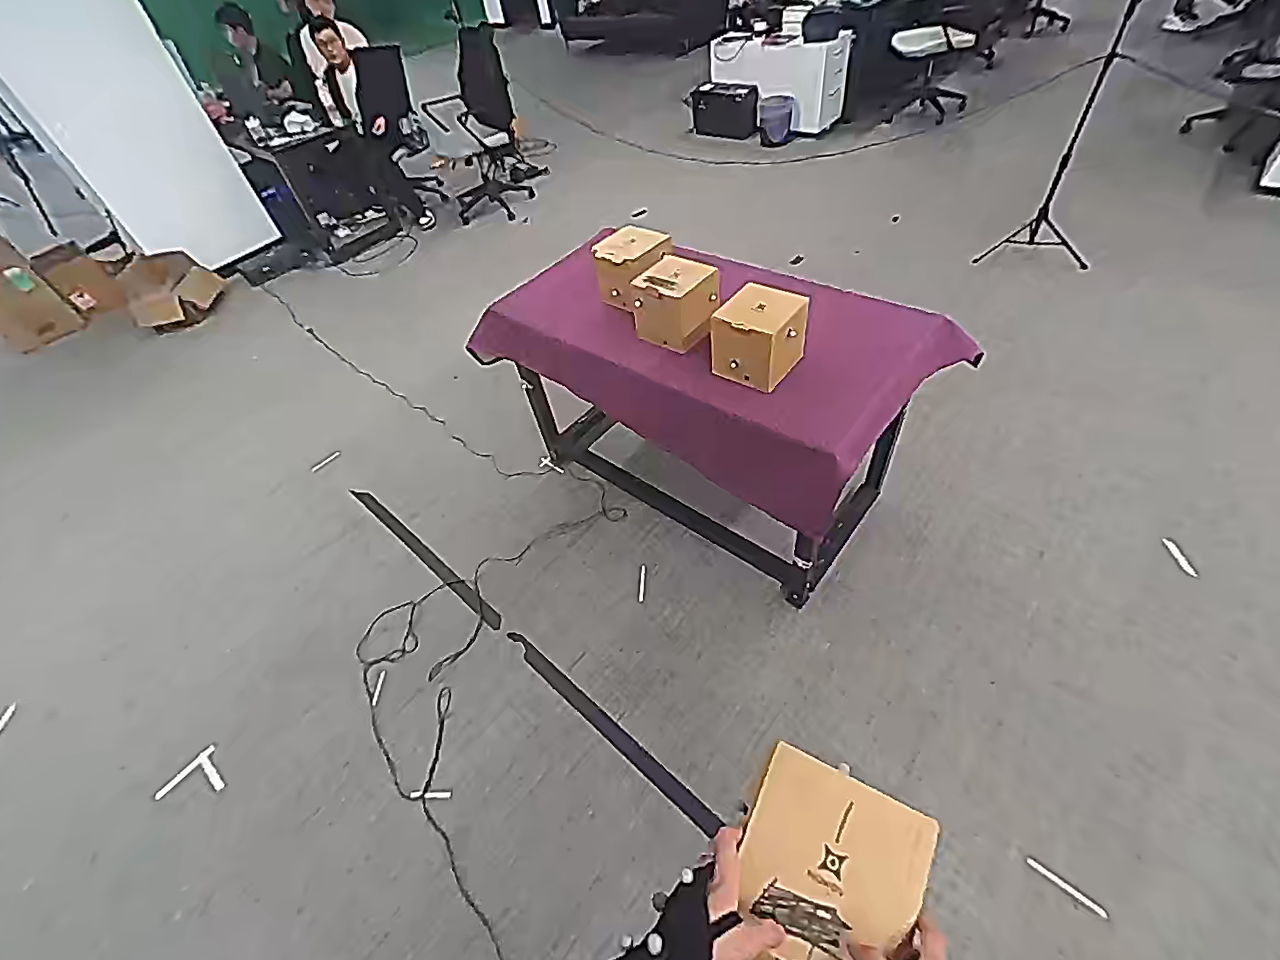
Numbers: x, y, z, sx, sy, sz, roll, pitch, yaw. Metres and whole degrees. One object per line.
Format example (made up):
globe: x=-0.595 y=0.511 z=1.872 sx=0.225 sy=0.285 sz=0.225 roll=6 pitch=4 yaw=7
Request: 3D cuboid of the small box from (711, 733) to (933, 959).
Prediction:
small box: x=0.188 y=0.405 z=0.592 sx=0.168 sy=0.176 sz=0.179 roll=21 pitch=67 yaw=17

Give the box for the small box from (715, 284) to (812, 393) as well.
small box: x=0.297 y=-0.347 z=1.325 sx=0.168 sy=0.176 sz=0.179 roll=28 pitch=59 yaw=29

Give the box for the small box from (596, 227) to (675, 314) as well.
small box: x=-0.007 y=-0.628 z=1.621 sx=0.168 sy=0.176 sz=0.179 roll=29 pitch=59 yaw=30
